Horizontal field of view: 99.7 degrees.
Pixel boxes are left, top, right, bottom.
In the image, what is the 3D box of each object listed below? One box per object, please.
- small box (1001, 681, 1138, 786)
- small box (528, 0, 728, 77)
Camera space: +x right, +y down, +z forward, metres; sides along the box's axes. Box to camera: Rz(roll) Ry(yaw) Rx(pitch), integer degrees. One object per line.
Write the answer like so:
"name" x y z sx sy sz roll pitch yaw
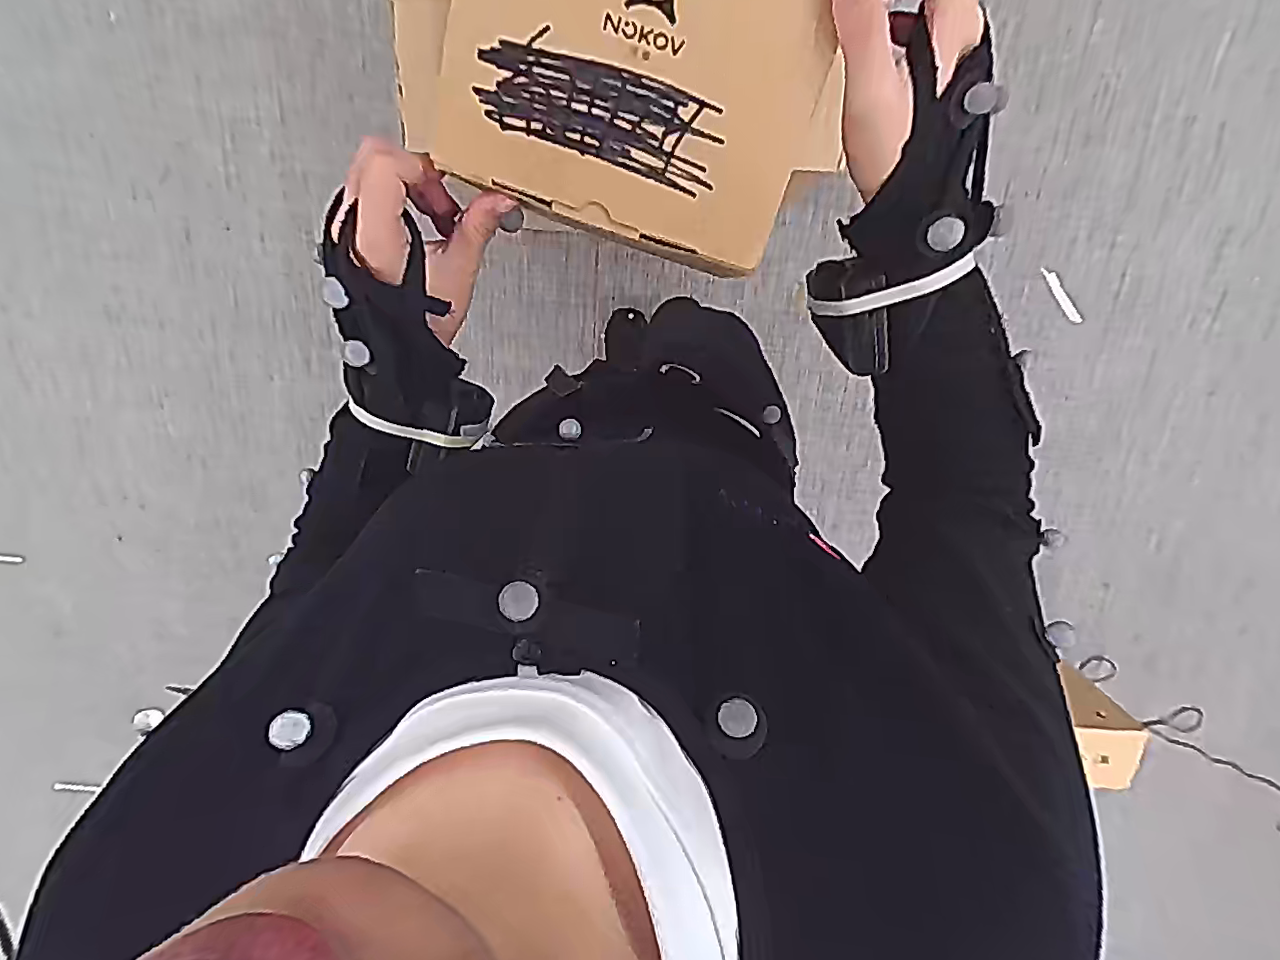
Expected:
"small box" 1.031 0.609 1.313 0.179 0.176 0.168 3 106 0
"small box" -0.007 -0.508 0.507 0.179 0.176 0.168 3 107 0
